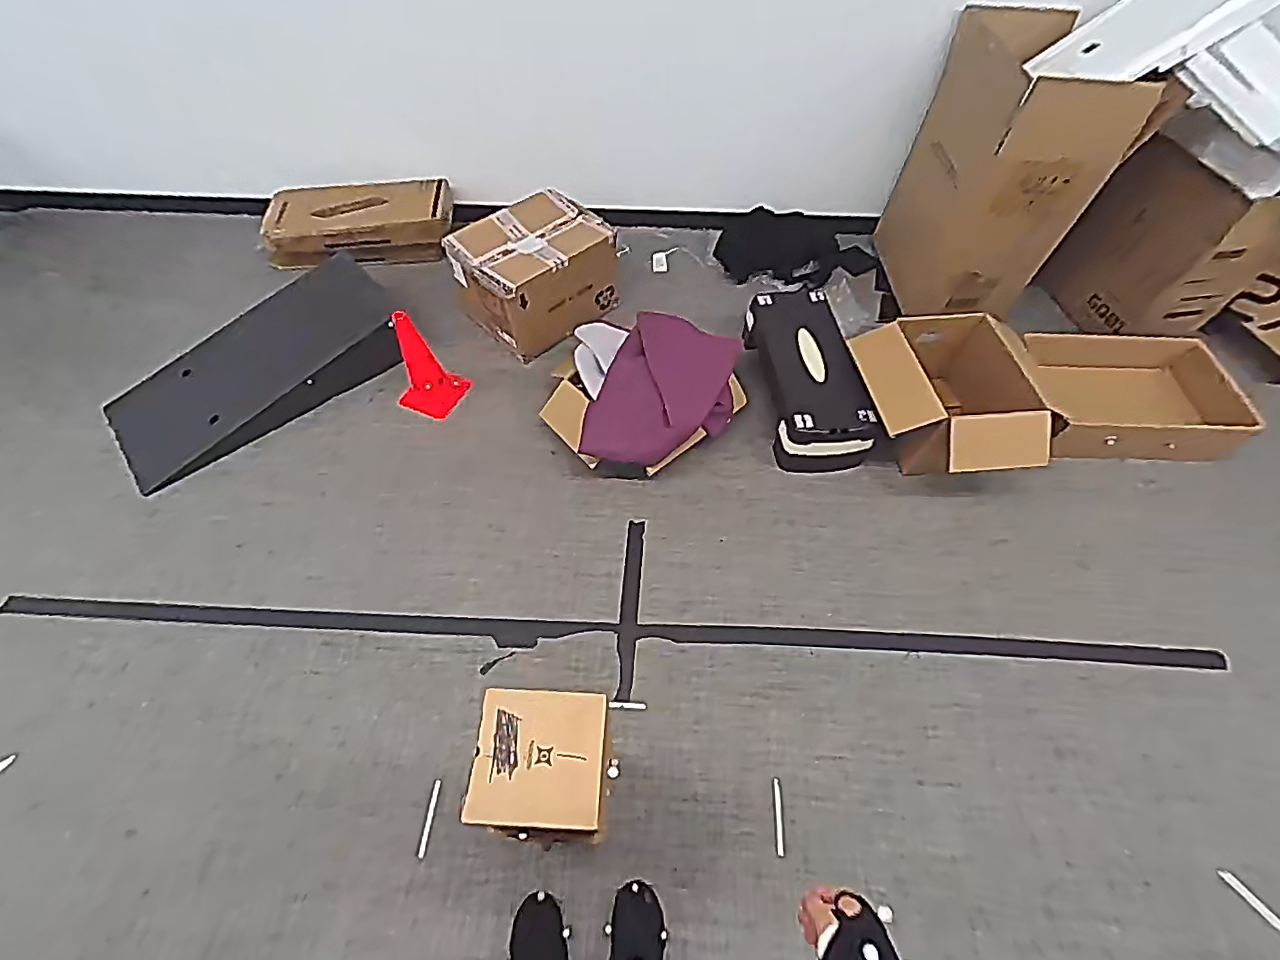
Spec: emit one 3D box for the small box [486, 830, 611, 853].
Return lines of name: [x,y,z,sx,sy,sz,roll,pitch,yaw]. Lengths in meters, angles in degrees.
small box: [-0.124,0.468,0.846,0.168,0.176,0.179,3,58,2]

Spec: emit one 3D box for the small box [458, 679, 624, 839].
small box: [-0.115,0.370,0.712,0.179,0.176,0.168,2,57,1]
